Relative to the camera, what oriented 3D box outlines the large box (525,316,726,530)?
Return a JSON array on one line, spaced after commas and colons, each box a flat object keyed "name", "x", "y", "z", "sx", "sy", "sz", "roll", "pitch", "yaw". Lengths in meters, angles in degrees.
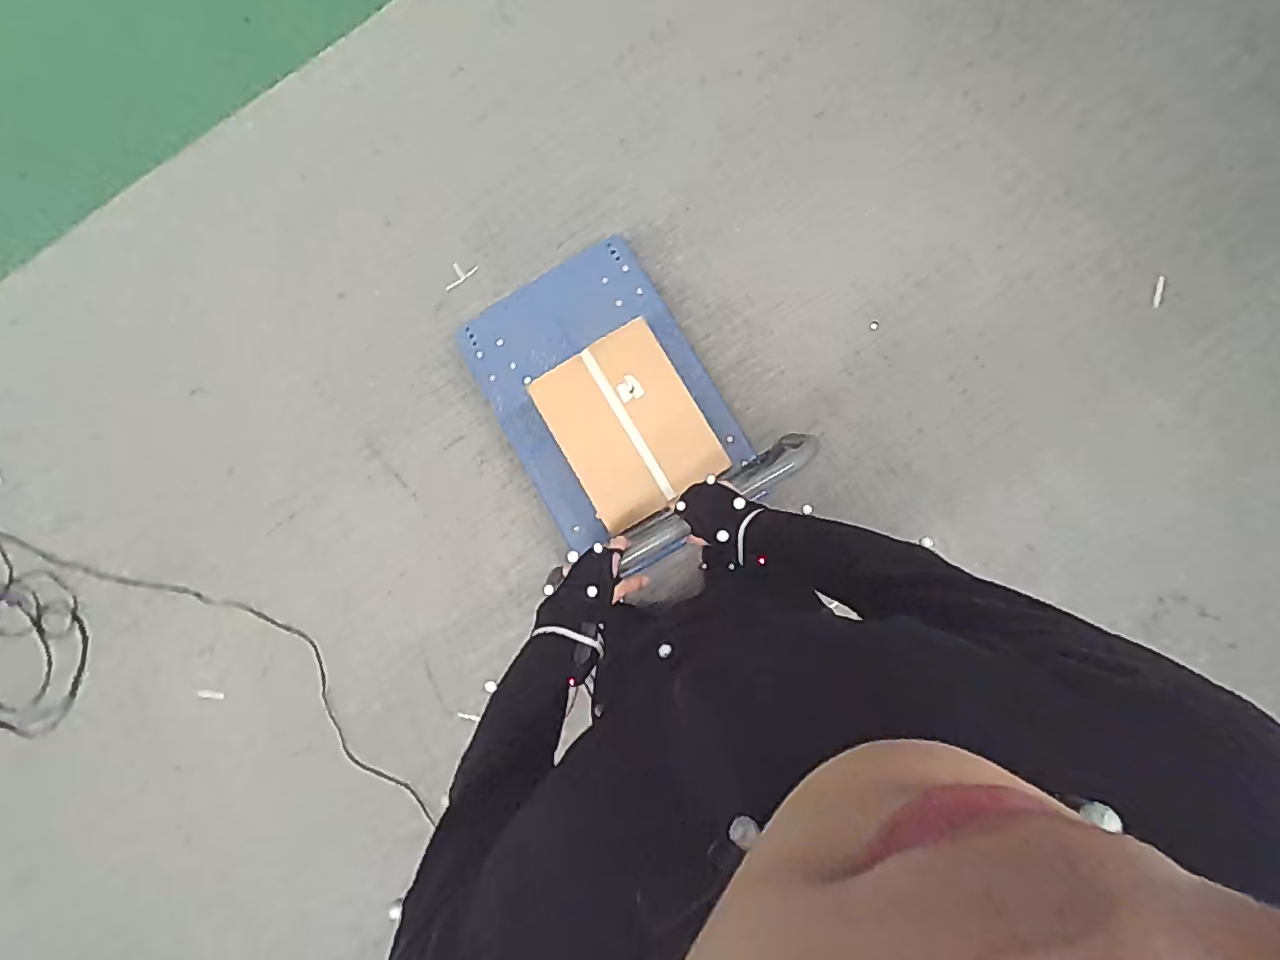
[{"name": "large box", "x": -0.023, "y": -0.119, "z": 1.365, "sx": 0.320, "sy": 0.320, "sz": 0.408, "roll": -31, "pitch": 83, "yaw": 1}]
